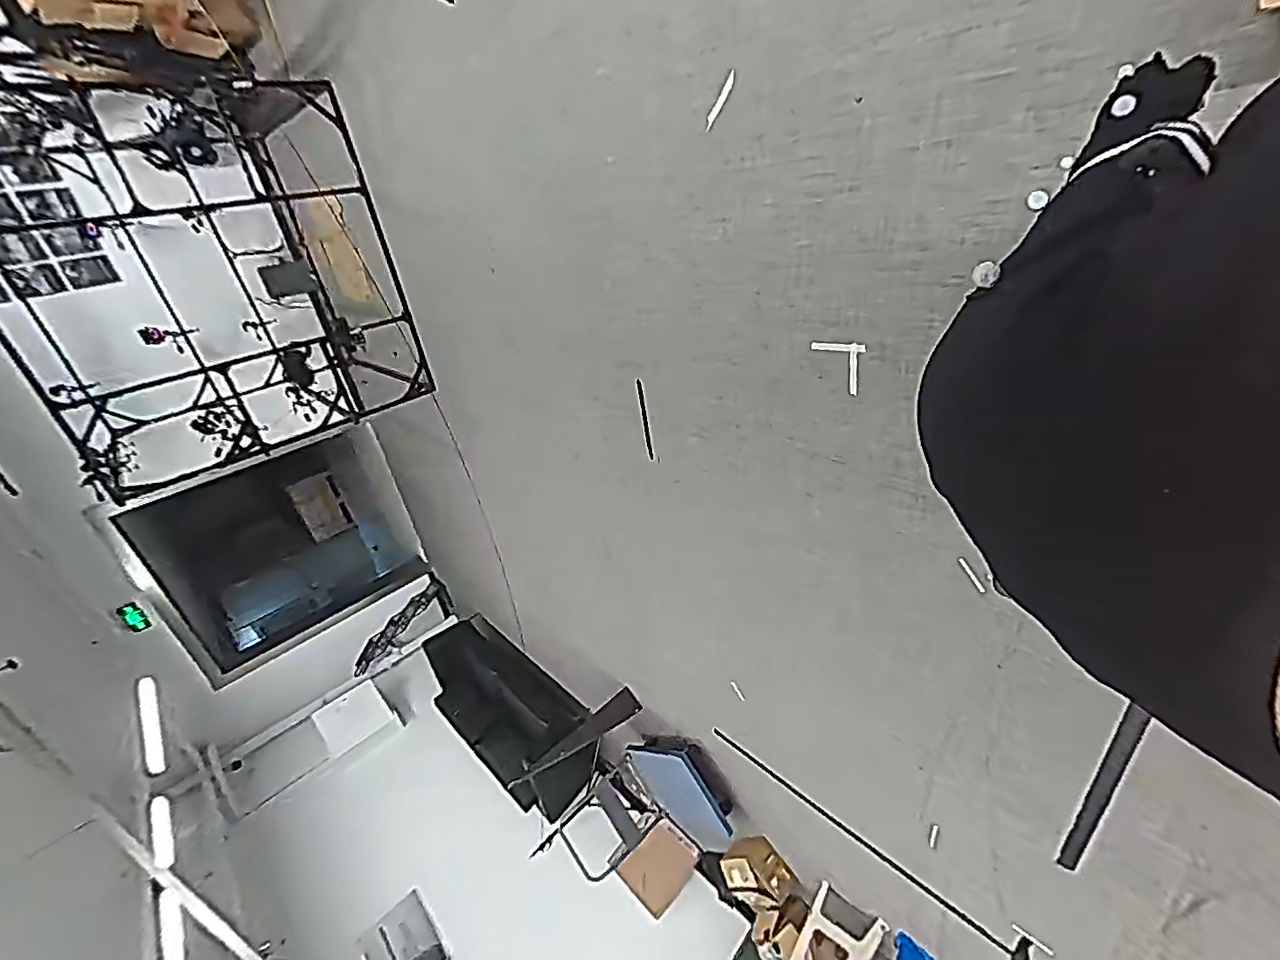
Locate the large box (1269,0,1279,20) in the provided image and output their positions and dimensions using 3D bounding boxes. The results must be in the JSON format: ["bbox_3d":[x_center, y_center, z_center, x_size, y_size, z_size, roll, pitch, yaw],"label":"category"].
[{"bbox_3d":[1.009,-0.744,0.563,0.408,0.320,0.320,21,131,42],"label":"large box"}]
